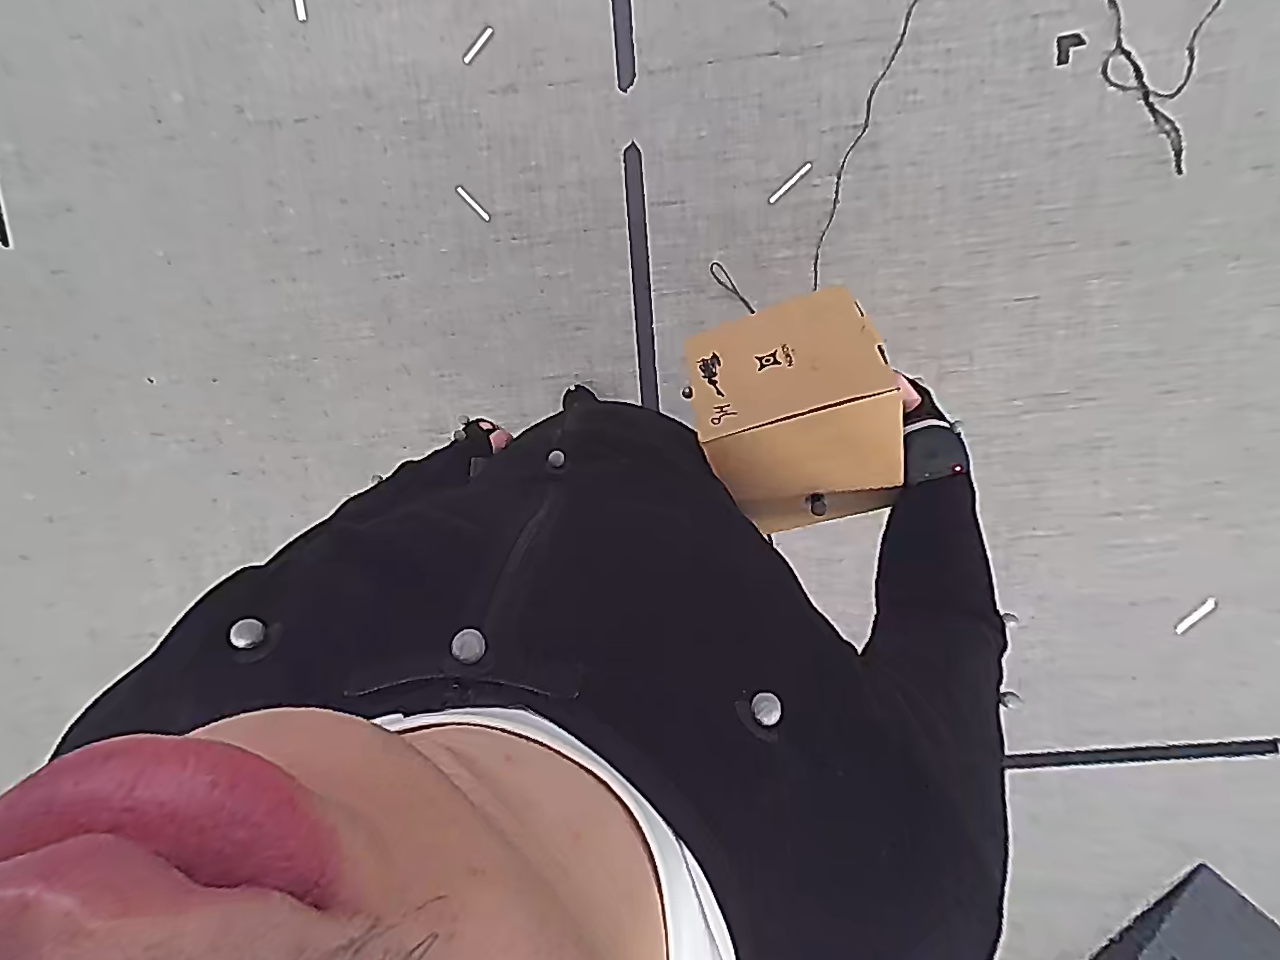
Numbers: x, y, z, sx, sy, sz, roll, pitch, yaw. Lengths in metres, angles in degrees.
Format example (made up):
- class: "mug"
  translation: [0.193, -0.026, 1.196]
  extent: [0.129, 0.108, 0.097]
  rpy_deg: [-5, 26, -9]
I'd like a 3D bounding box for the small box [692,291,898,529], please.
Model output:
- class: "small box"
  translation: [0.168, -0.069, 0.596]
  extent: [0.179, 0.168, 0.176]
  rpy_deg: [-15, 136, 15]
